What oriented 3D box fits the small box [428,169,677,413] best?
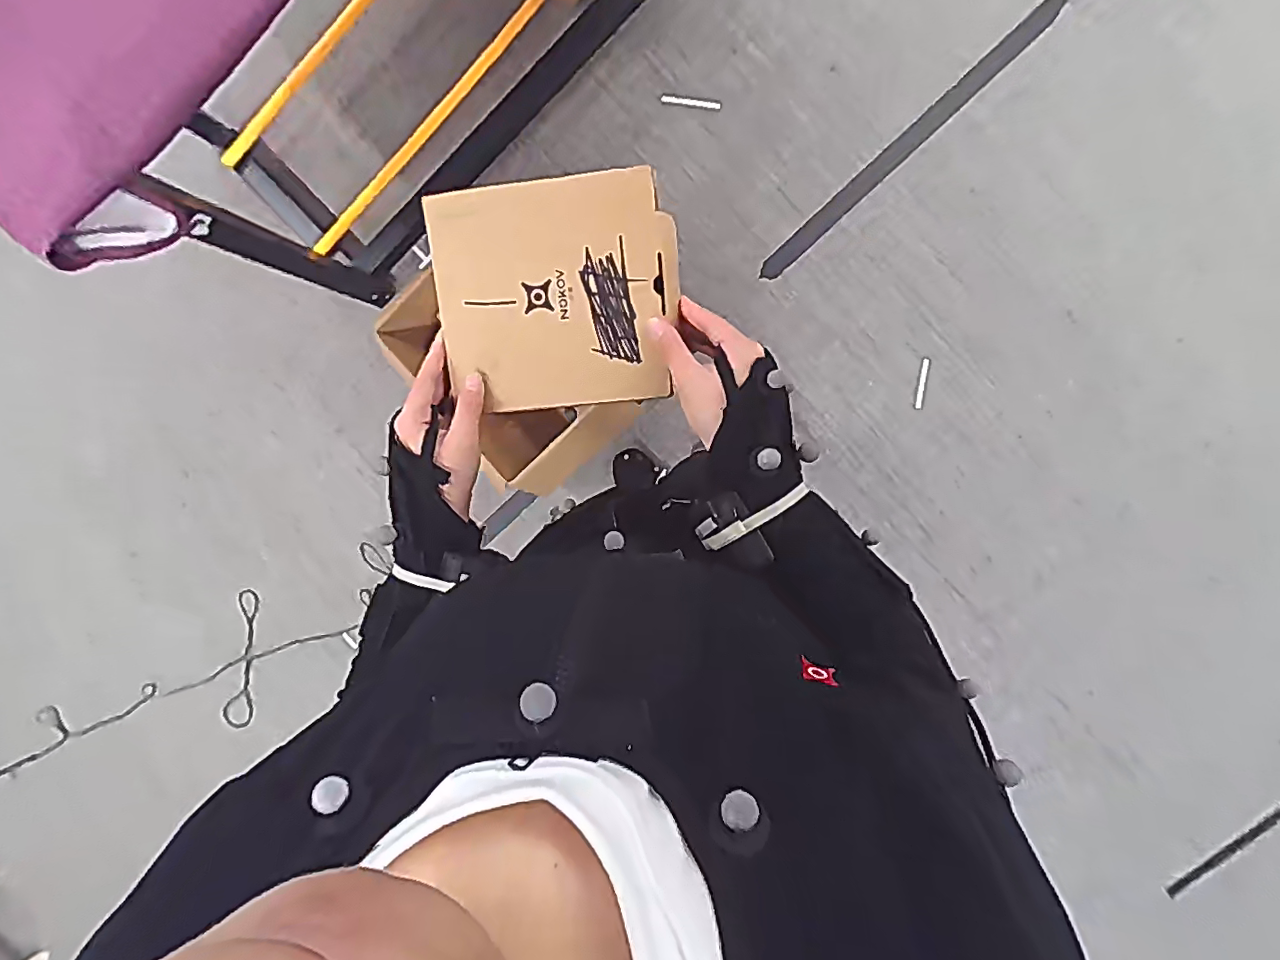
[{"bbox_3d":[-0.060,-0.153,0.485,0.179,0.176,0.168,-4,100,5],"label":"small box"}]
